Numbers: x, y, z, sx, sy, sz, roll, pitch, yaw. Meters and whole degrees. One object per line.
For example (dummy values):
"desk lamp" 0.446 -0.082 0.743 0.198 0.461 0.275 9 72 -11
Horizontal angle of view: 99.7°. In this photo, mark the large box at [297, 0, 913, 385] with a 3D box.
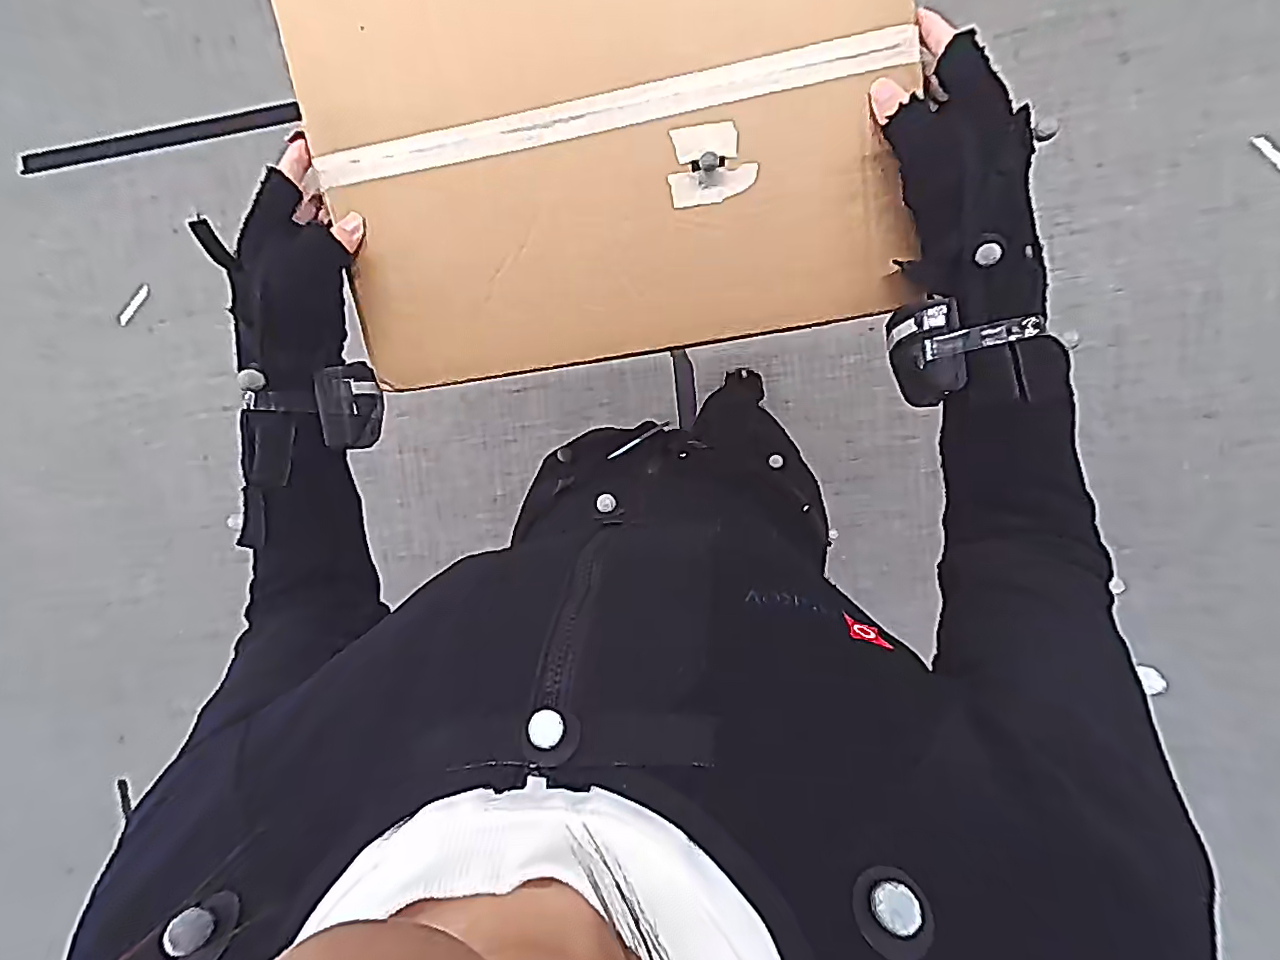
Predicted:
"large box" -0.014 -0.286 0.521 0.408 0.320 0.320 -8 104 6
